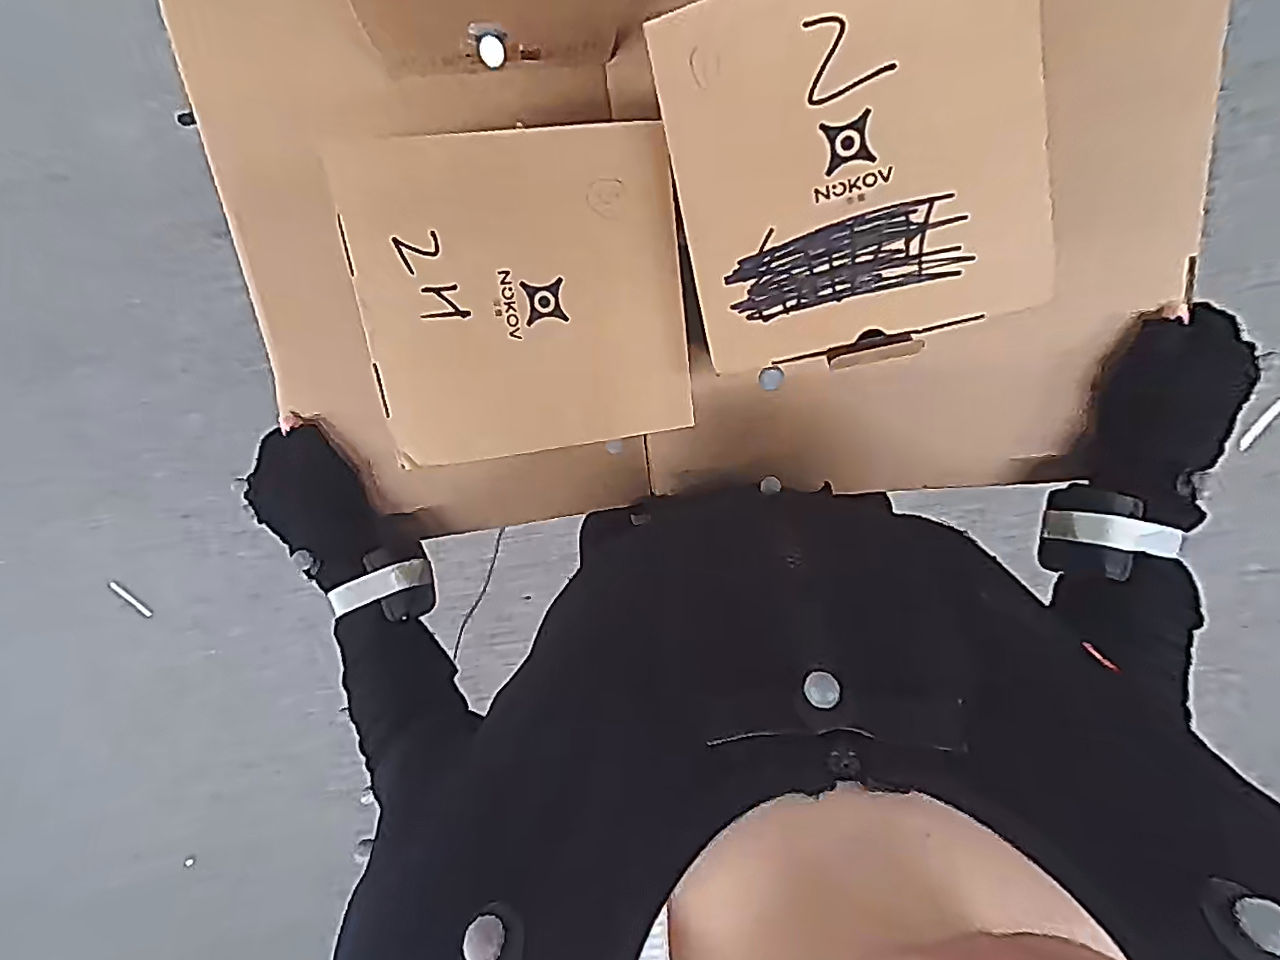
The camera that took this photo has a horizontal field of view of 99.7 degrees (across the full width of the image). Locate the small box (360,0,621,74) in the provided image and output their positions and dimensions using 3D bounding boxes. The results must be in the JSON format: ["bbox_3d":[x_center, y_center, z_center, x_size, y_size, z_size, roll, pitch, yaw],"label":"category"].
[{"bbox_3d":[-0.100,-0.372,0.305,0.168,0.176,0.179,-10,106,-8],"label":"small box"}]
